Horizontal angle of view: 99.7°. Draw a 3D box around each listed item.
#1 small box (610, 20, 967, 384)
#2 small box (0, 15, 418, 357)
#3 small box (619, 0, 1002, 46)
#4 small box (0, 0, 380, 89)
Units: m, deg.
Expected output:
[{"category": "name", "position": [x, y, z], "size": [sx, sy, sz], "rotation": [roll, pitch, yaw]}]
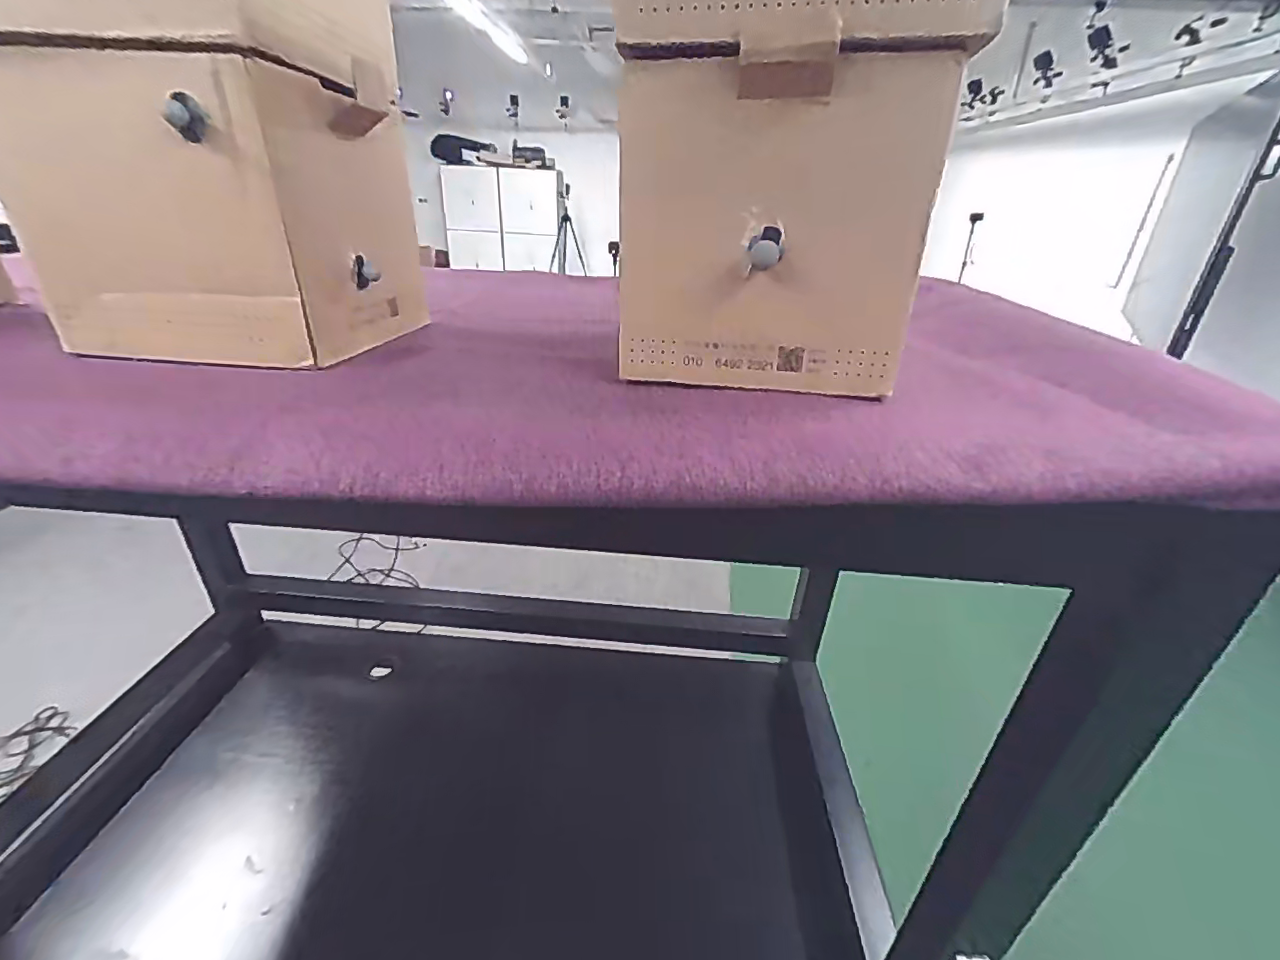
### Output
[{"category": "small box", "position": [0.082, -0.168, 0.358], "size": [0.168, 0.176, 0.179], "rotation": [6, 26, 10]}, {"category": "small box", "position": [-0.280, -0.186, 0.374], "size": [0.179, 0.176, 0.168], "rotation": [4, 27, 2]}, {"category": "small box", "position": [0.086, -0.312, 0.278], "size": [0.179, 0.176, 0.168], "rotation": [6, 26, 8]}, {"category": "small box", "position": [-0.267, -0.330, 0.300], "size": [0.168, 0.176, 0.179], "rotation": [5, 26, 0]}]
